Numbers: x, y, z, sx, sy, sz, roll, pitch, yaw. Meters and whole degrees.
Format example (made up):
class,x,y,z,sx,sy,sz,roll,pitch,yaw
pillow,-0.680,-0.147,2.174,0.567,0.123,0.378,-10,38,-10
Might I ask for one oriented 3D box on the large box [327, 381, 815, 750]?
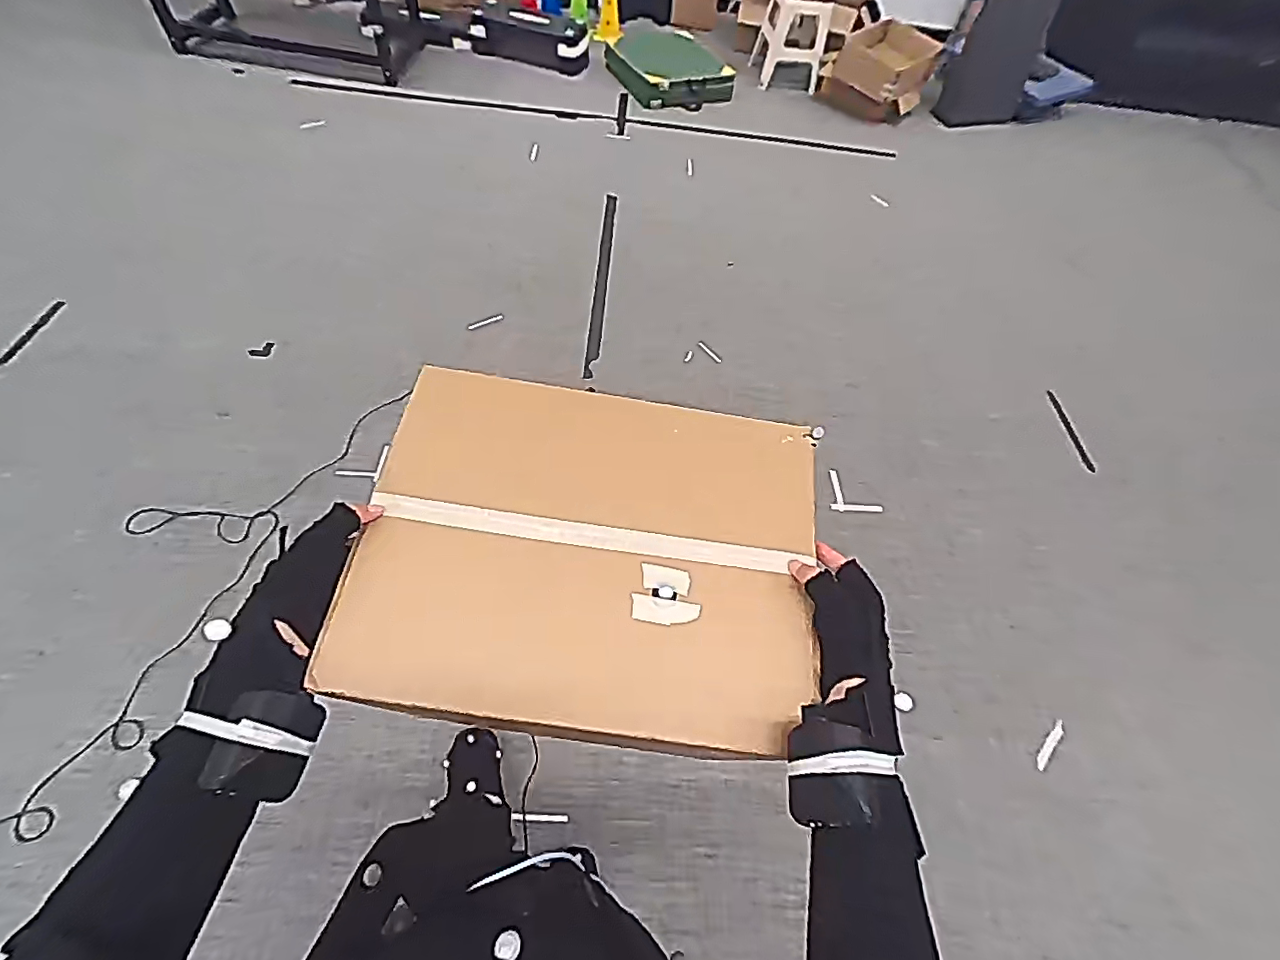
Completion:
class,x,y,z,sx,sy,sz,roll,pitch,yaw
large box,-0.055,0.124,0.632,0.408,0.320,0.320,9,63,-3
